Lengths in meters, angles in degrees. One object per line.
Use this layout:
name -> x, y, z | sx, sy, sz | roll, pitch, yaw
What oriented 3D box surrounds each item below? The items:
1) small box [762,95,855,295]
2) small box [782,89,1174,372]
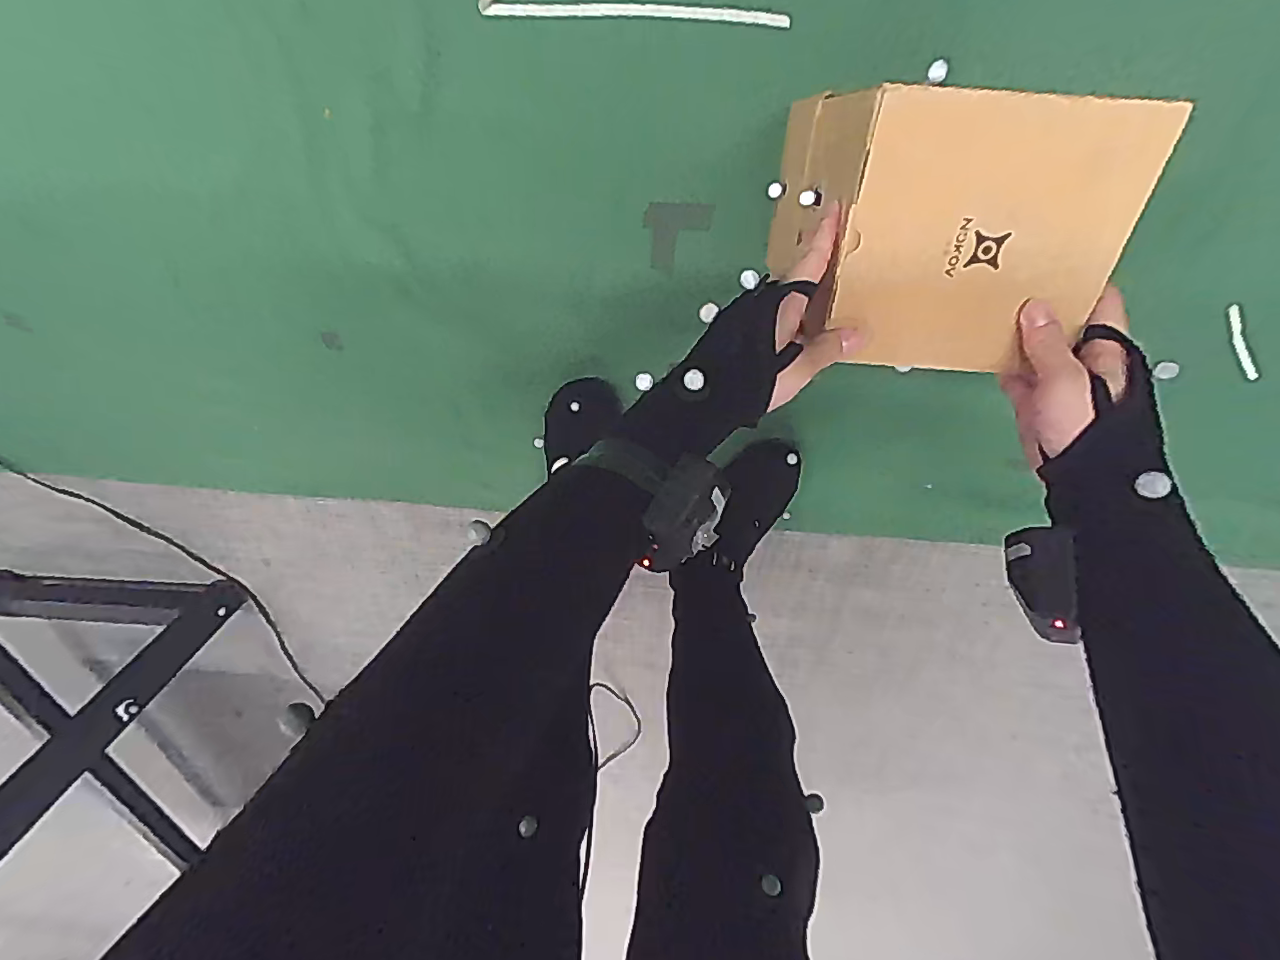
small box -> 0.233, -0.287, 0.554 | 0.179, 0.176, 0.168 | 5, 123, 2
small box -> 0.222, -0.197, 0.420 | 0.179, 0.176, 0.168 | 5, 123, 3
